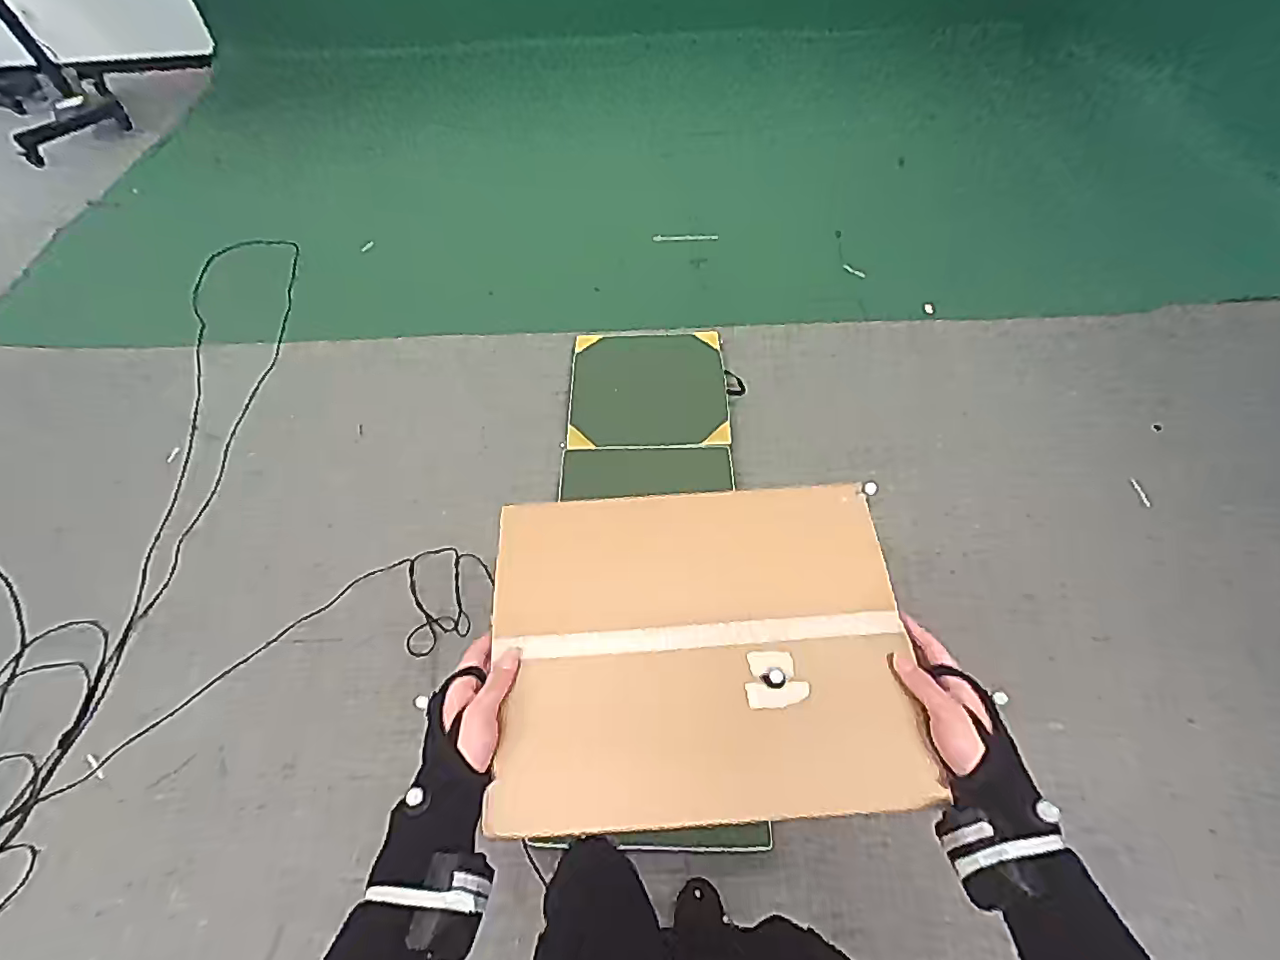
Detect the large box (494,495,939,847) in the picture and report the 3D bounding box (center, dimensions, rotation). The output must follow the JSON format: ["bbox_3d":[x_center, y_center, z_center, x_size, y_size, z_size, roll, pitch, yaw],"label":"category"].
[{"bbox_3d":[0.058,0.237,0.671,0.408,0.320,0.320,-4,62,-1],"label":"large box"}]
